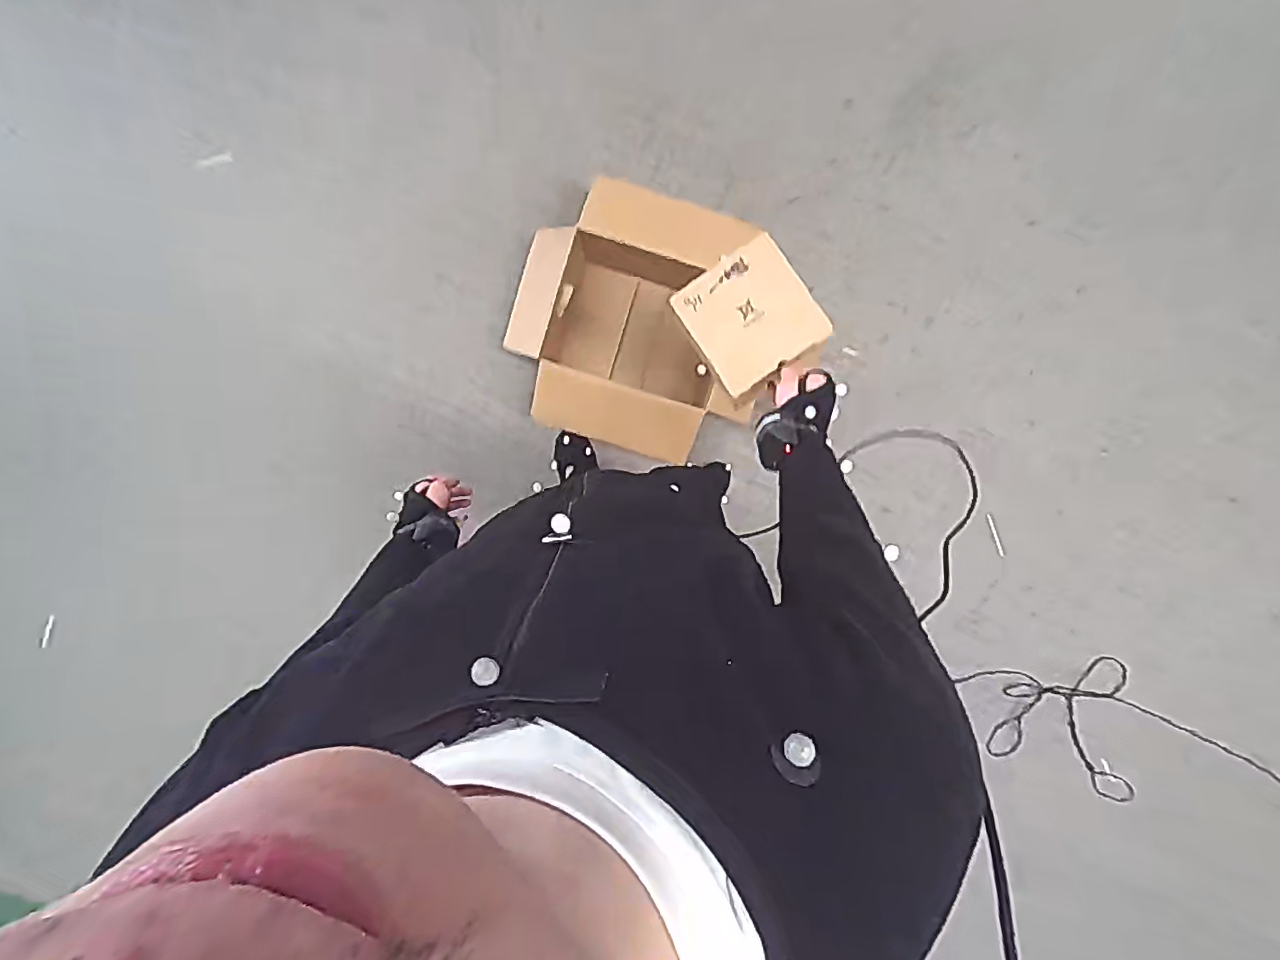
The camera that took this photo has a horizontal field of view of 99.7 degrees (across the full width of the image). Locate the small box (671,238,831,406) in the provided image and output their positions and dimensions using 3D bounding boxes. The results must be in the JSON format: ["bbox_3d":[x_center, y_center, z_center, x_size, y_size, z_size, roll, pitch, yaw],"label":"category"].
[{"bbox_3d":[0.167,-0.227,0.835,0.168,0.176,0.179,-31,86,8],"label":"small box"}]
